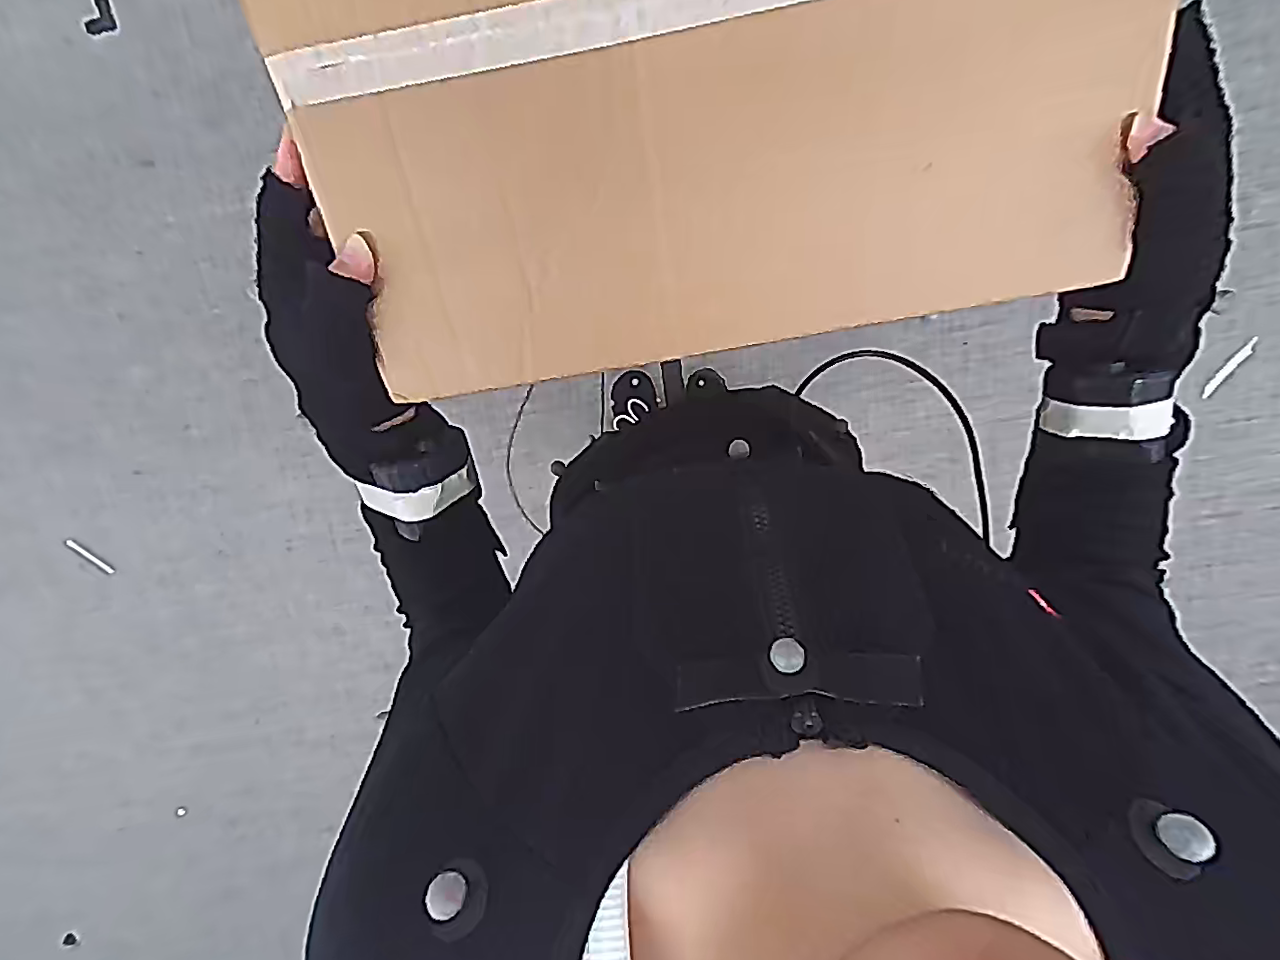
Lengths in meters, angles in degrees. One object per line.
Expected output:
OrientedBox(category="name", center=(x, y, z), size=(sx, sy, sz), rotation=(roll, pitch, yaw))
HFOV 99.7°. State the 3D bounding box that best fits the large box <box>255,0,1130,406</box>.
OrientedBox(category="large box", center=(0.027, -0.275, 0.385), size=(0.408, 0.320, 0.320), rotation=(-9, 113, 4))
